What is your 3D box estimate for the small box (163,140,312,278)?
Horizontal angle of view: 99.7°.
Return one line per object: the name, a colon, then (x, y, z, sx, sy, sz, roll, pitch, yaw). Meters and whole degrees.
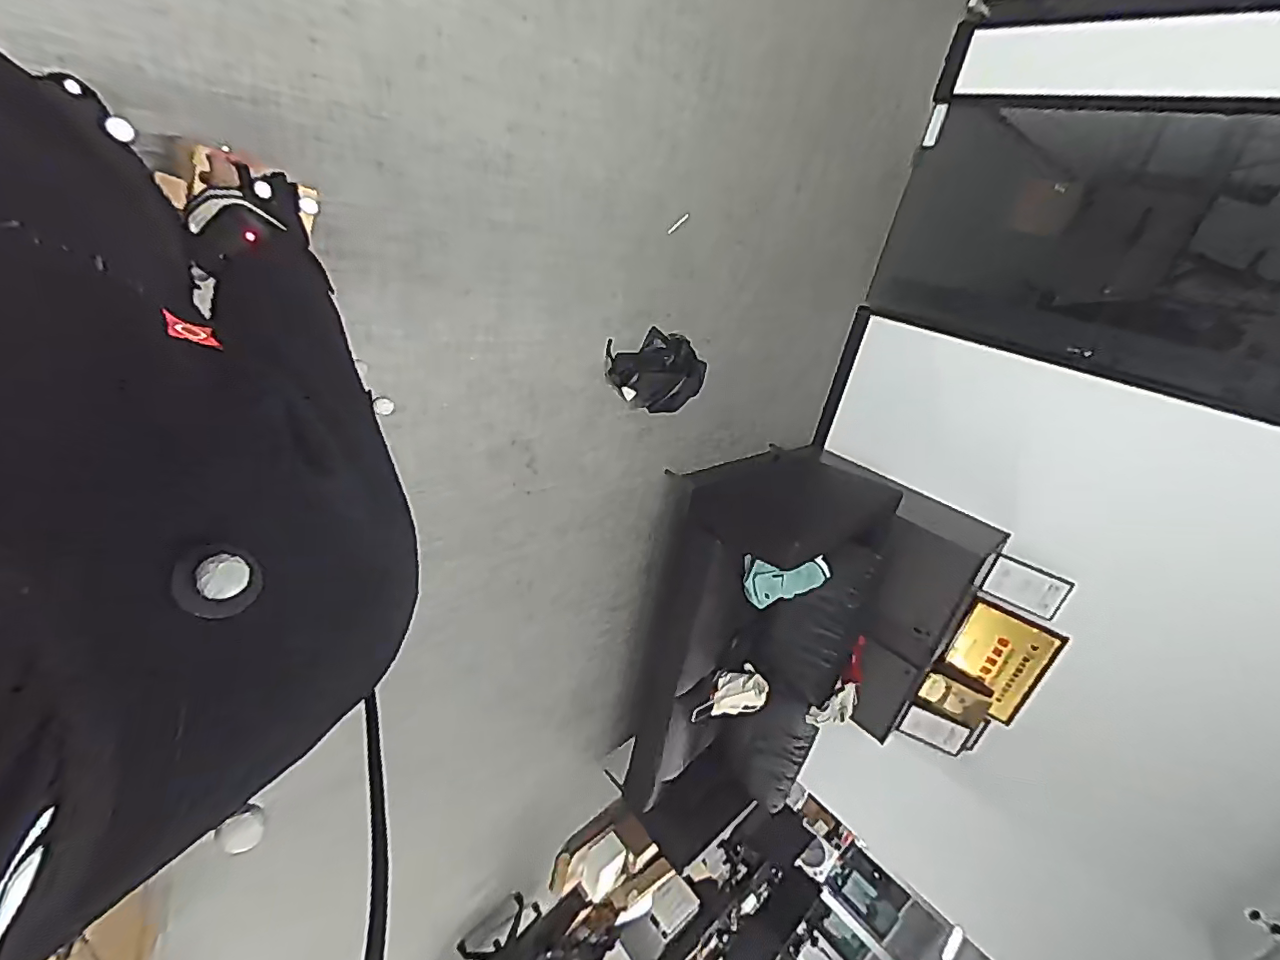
small box: (-0.731, -0.491, 0.981, 0.179, 0.176, 0.168, 2, 116, -49)
